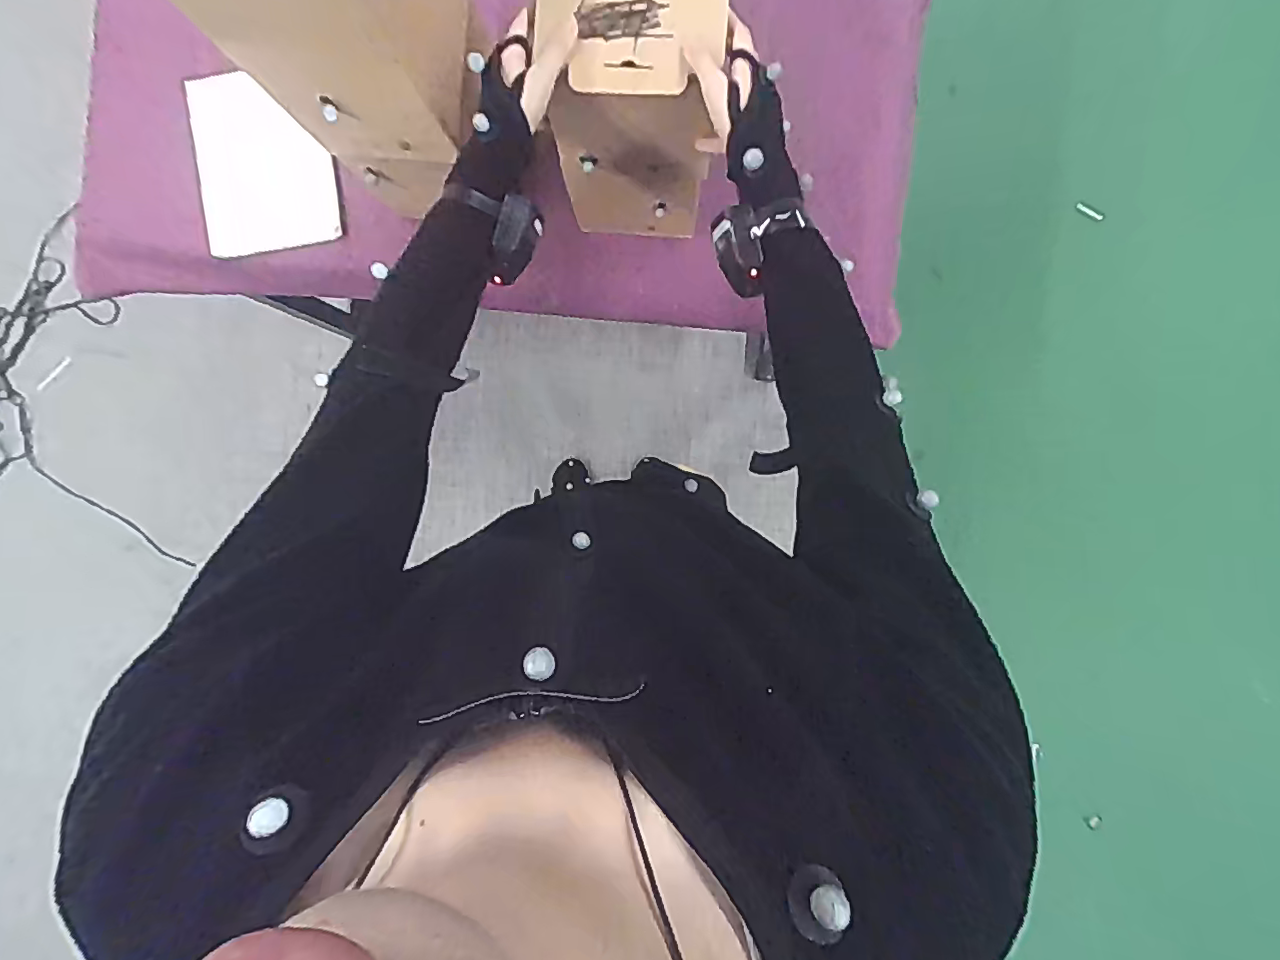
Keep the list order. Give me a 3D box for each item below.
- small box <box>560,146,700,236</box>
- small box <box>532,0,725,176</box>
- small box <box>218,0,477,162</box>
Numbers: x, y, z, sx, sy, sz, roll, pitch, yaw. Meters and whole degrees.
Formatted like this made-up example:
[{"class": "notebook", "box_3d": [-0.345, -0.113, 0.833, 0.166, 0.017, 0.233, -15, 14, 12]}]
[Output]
[{"class": "small box", "box_3d": [-0.001, -0.441, 0.704, 0.168, 0.176, 0.179, 6, 90, 2]}, {"class": "small box", "box_3d": [-0.002, -0.435, 0.541, 0.168, 0.176, 0.179, 4, 90, 1]}, {"class": "small box", "box_3d": [-0.277, -0.457, 0.549, 0.168, 0.176, 0.179, 6, 89, 2]}]
